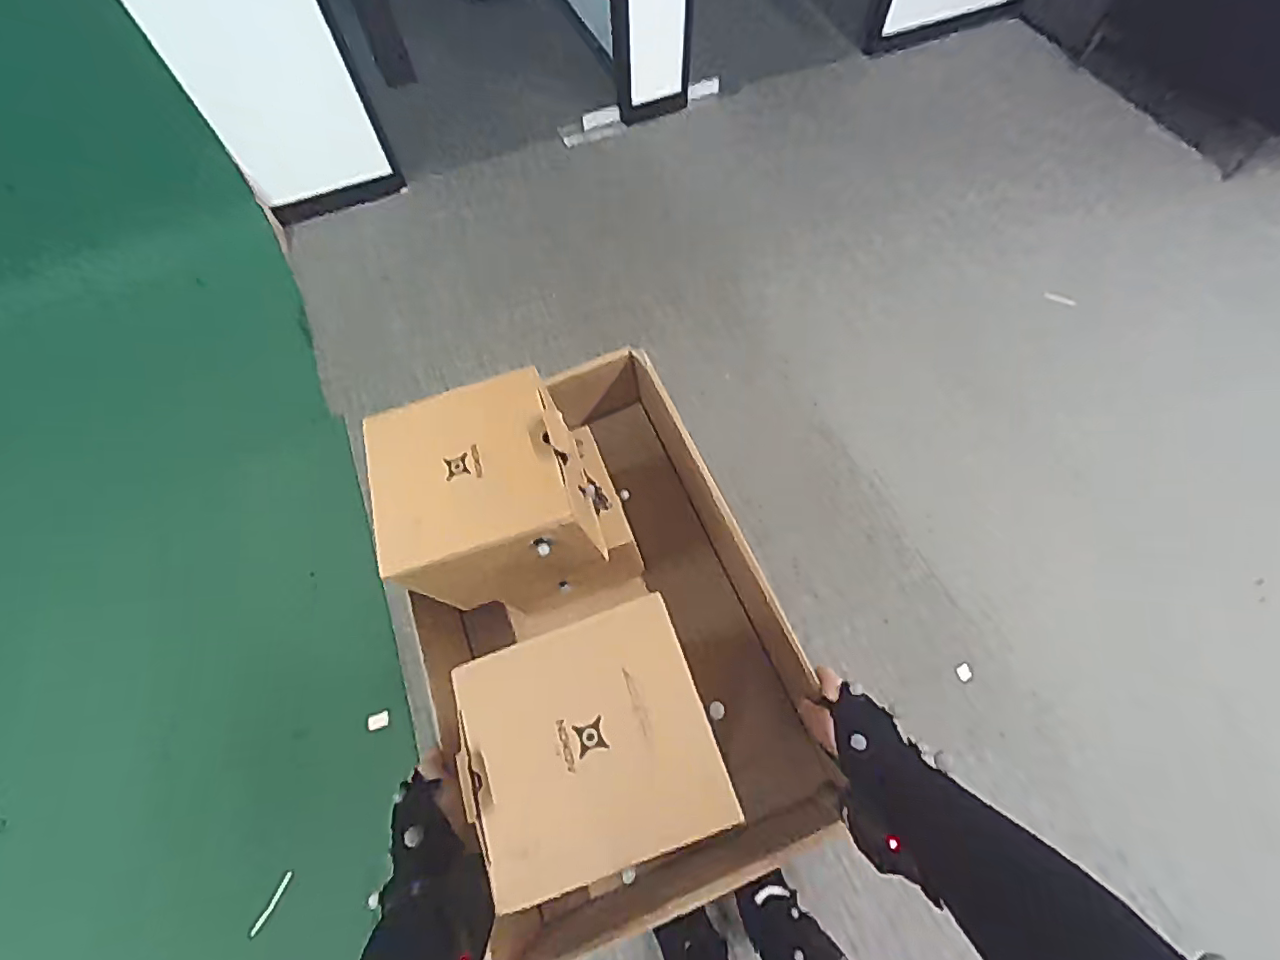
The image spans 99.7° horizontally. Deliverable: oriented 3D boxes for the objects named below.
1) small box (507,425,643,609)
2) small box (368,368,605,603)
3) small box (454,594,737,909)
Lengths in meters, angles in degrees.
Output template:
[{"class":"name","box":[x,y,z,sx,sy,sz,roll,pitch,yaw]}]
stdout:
[{"class":"small box","box":[-0.108,0.059,0.719,0.179,0.176,0.168,-22,69,-3]},{"class":"small box","box":[-0.150,0.017,0.564,0.179,0.176,0.168,-18,67,-2]},{"class":"small box","box":[-0.030,0.219,0.465,0.179,0.176,0.168,-20,67,-3]}]
